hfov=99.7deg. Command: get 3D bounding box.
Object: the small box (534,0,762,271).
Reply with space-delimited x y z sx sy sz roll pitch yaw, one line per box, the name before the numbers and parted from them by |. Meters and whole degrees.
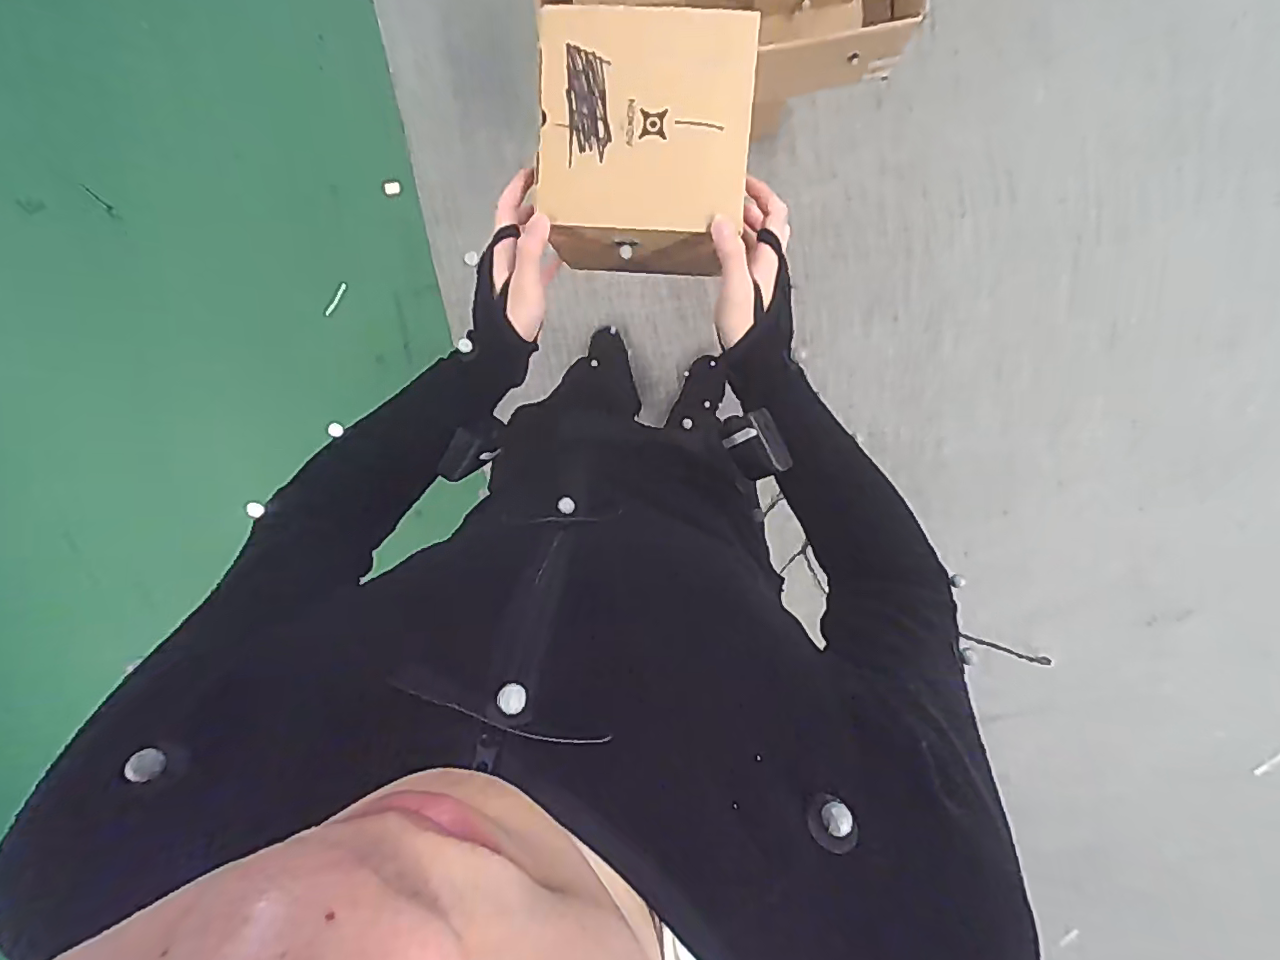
small box | 0.007 -0.305 0.514 0.179 0.176 0.168 4 99 2
